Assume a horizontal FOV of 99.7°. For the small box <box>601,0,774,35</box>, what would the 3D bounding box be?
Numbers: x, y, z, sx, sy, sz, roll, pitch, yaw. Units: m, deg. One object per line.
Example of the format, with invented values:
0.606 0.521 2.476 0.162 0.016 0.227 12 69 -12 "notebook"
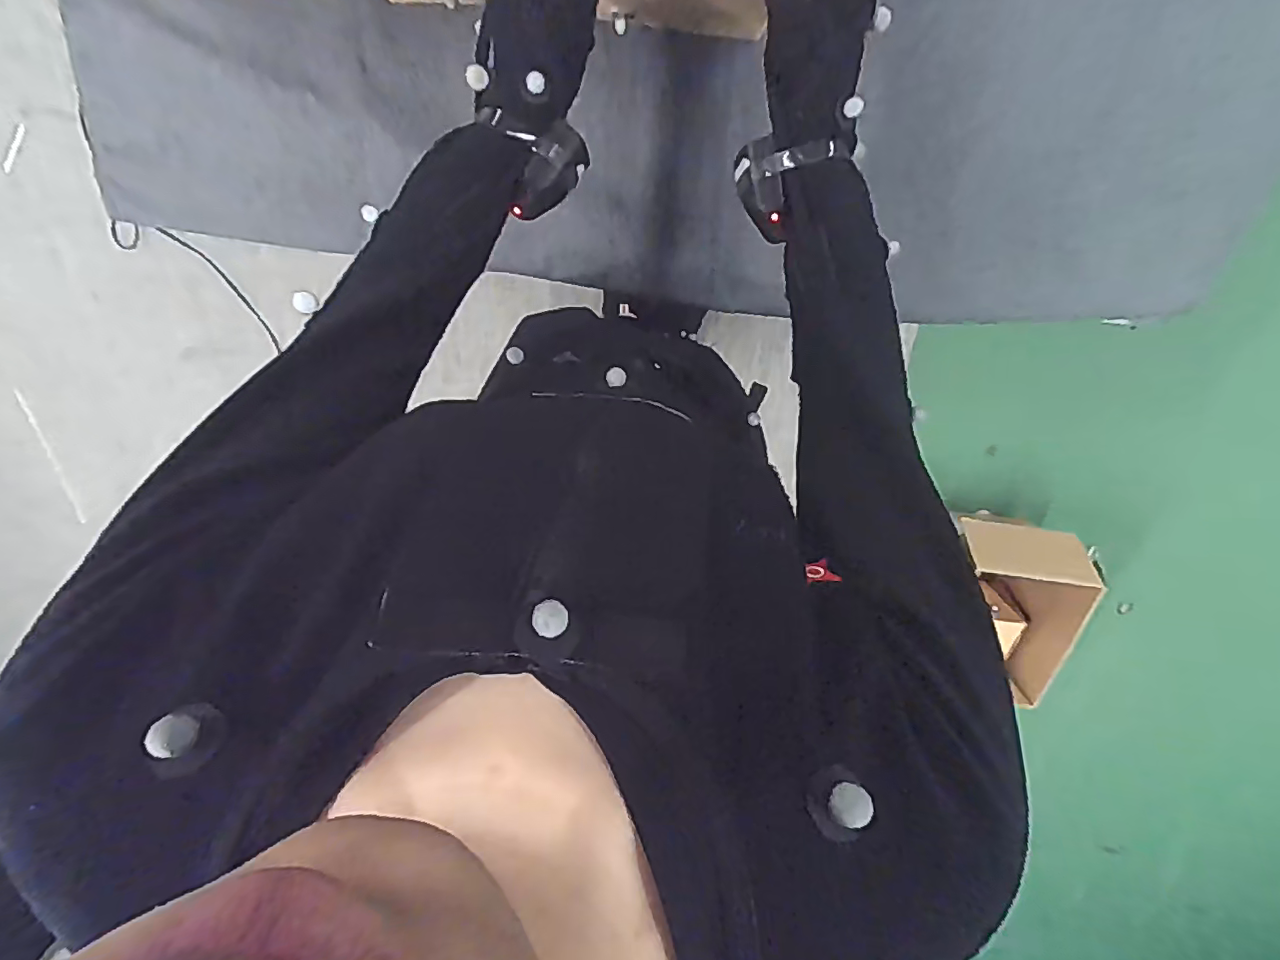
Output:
0.043 -0.480 0.417 0.168 0.176 0.179 8 116 1 "small box"
